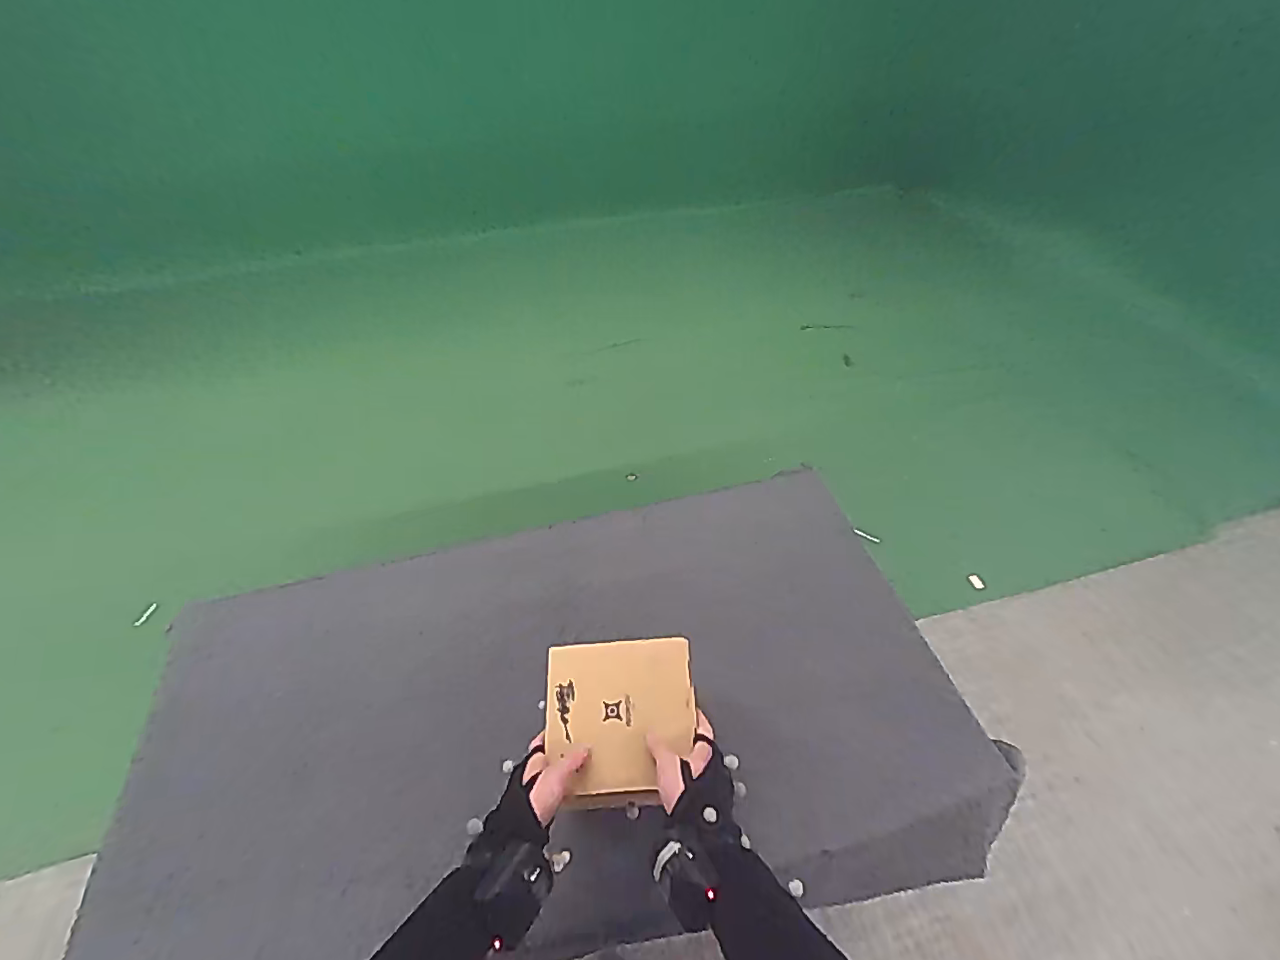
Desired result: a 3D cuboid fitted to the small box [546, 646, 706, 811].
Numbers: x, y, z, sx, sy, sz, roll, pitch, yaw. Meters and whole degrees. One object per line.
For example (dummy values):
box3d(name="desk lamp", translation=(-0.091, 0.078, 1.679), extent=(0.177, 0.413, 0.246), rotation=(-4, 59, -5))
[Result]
box3d(name="small box", translation=(-0.015, 0.322, 0.695), extent=(0.179, 0.176, 0.168), rotation=(-4, 55, 1))
